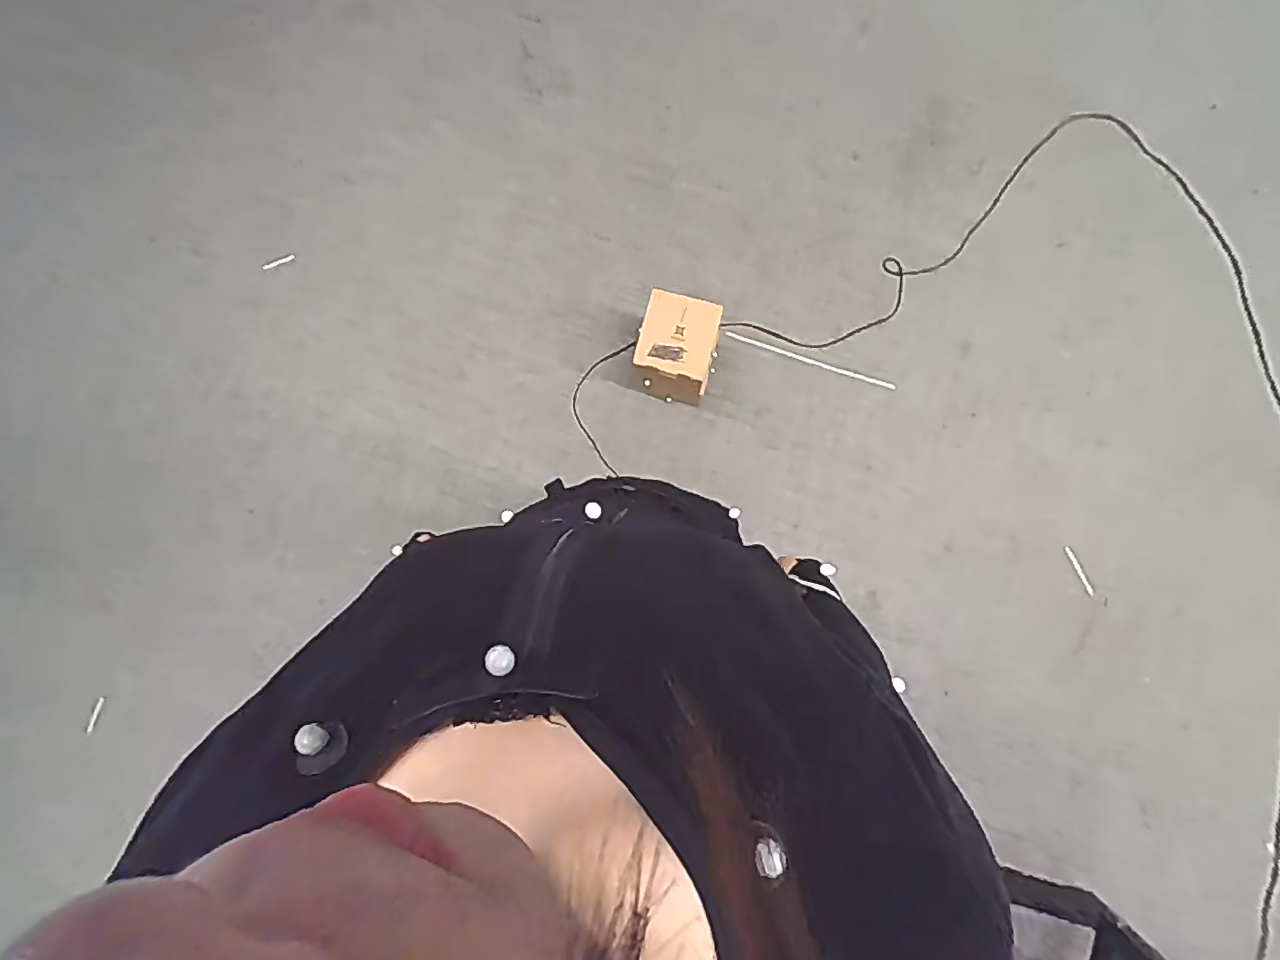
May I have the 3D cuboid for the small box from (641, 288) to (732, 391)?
[{"bbox_3d":[0.110,-0.322,1.279,0.168,0.176,0.179,16,89,4],"label":"small box"}]
